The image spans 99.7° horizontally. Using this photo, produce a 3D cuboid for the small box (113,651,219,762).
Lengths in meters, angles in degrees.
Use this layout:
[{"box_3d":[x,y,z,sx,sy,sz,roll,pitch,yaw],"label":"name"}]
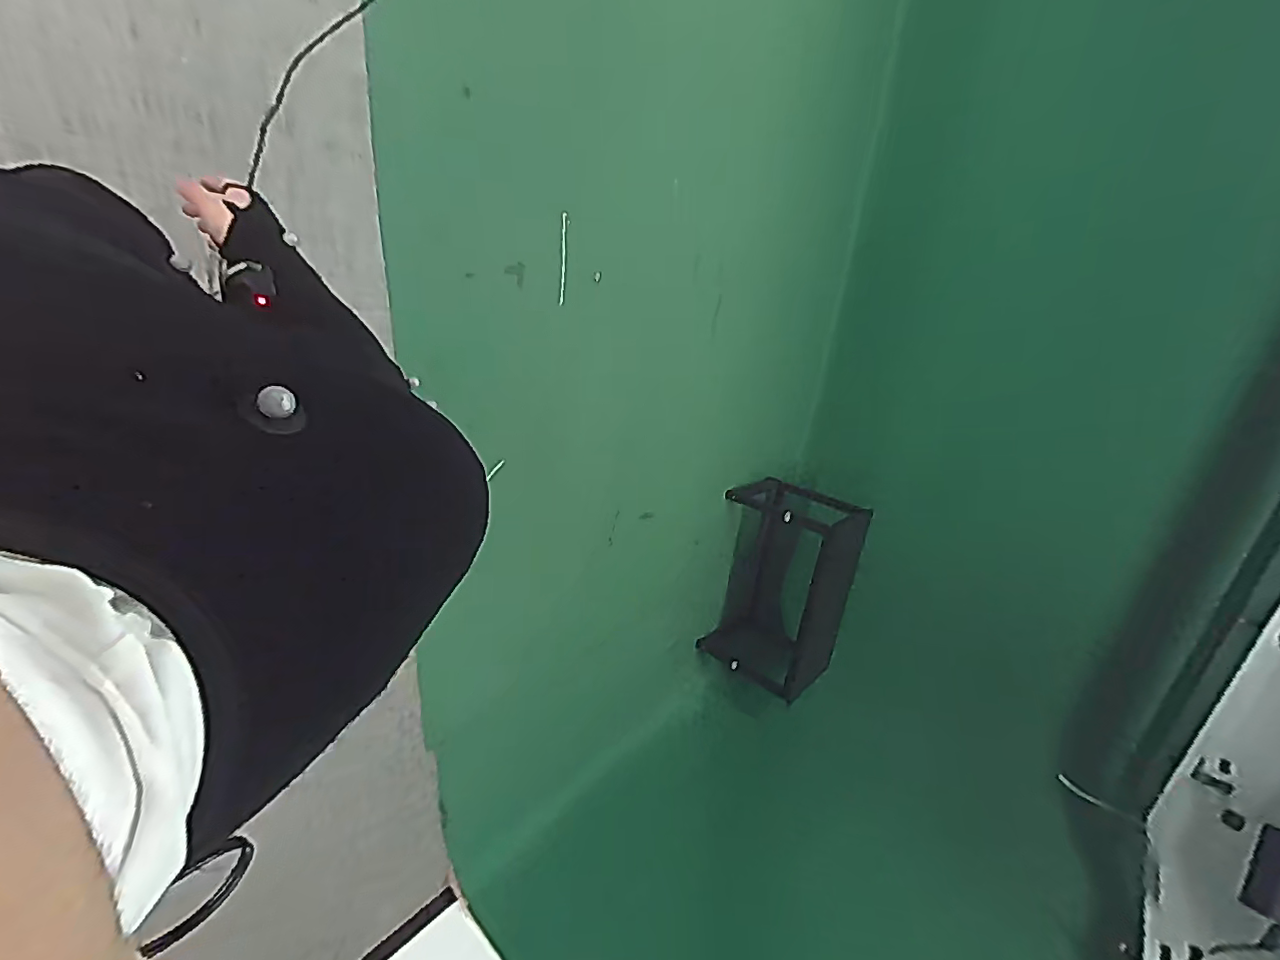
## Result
[{"box_3d":[-1.222,0.574,1.396,0.179,0.176,0.168,-12,117,-46],"label":"small box"}]
